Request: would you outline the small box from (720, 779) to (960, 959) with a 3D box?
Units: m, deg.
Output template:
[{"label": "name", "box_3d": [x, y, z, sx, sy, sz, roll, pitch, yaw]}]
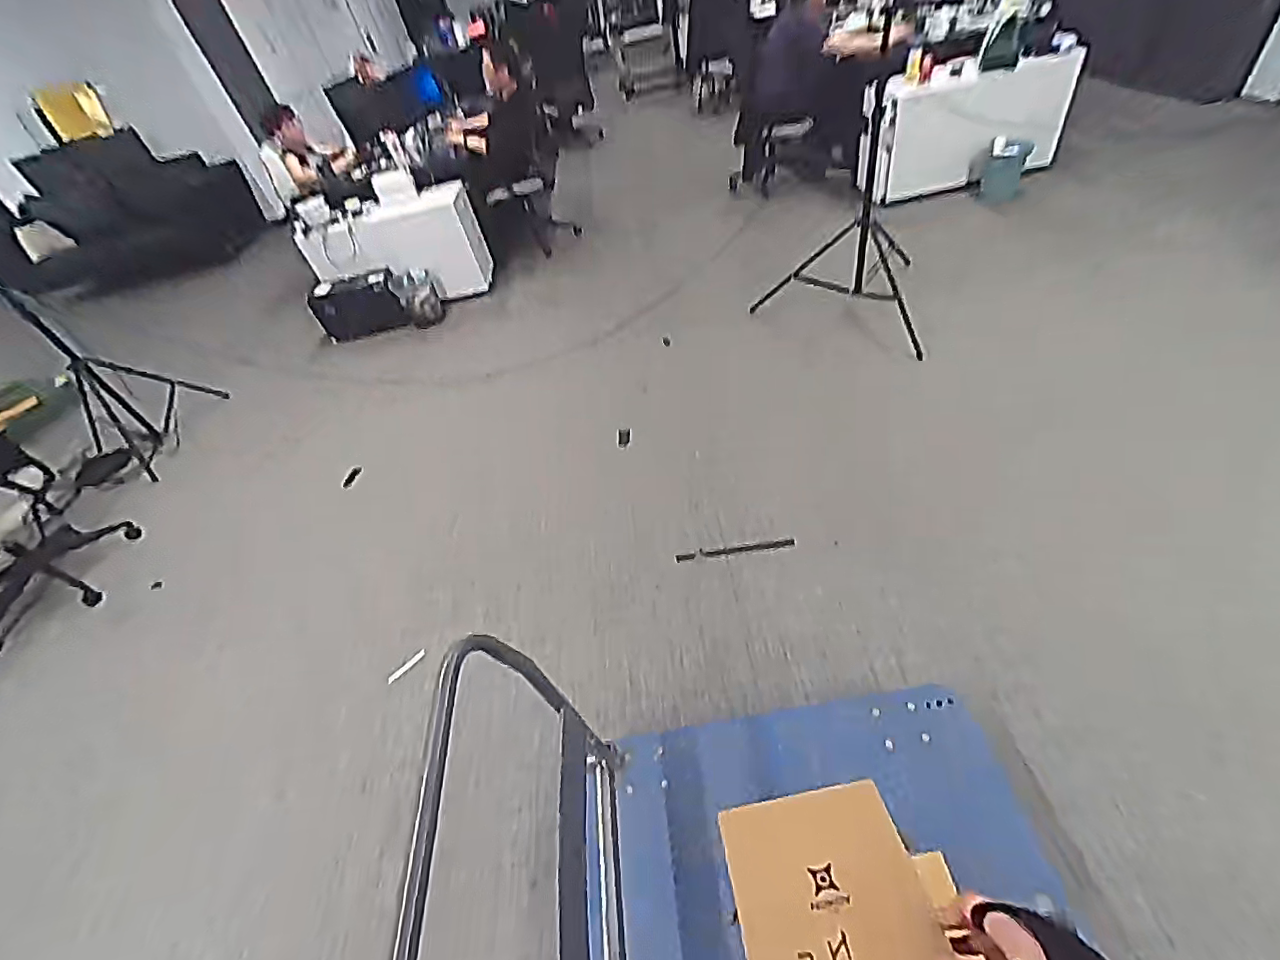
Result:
[{"label": "small box", "box_3d": [0.184, 0.429, 0.514, 0.168, 0.176, 0.179, -15, 30, 3]}]

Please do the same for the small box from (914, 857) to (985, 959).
[{"label": "small box", "box_3d": [0.446, 0.759, 0.899, 0.168, 0.176, 0.179, -12, 44, 3]}]
